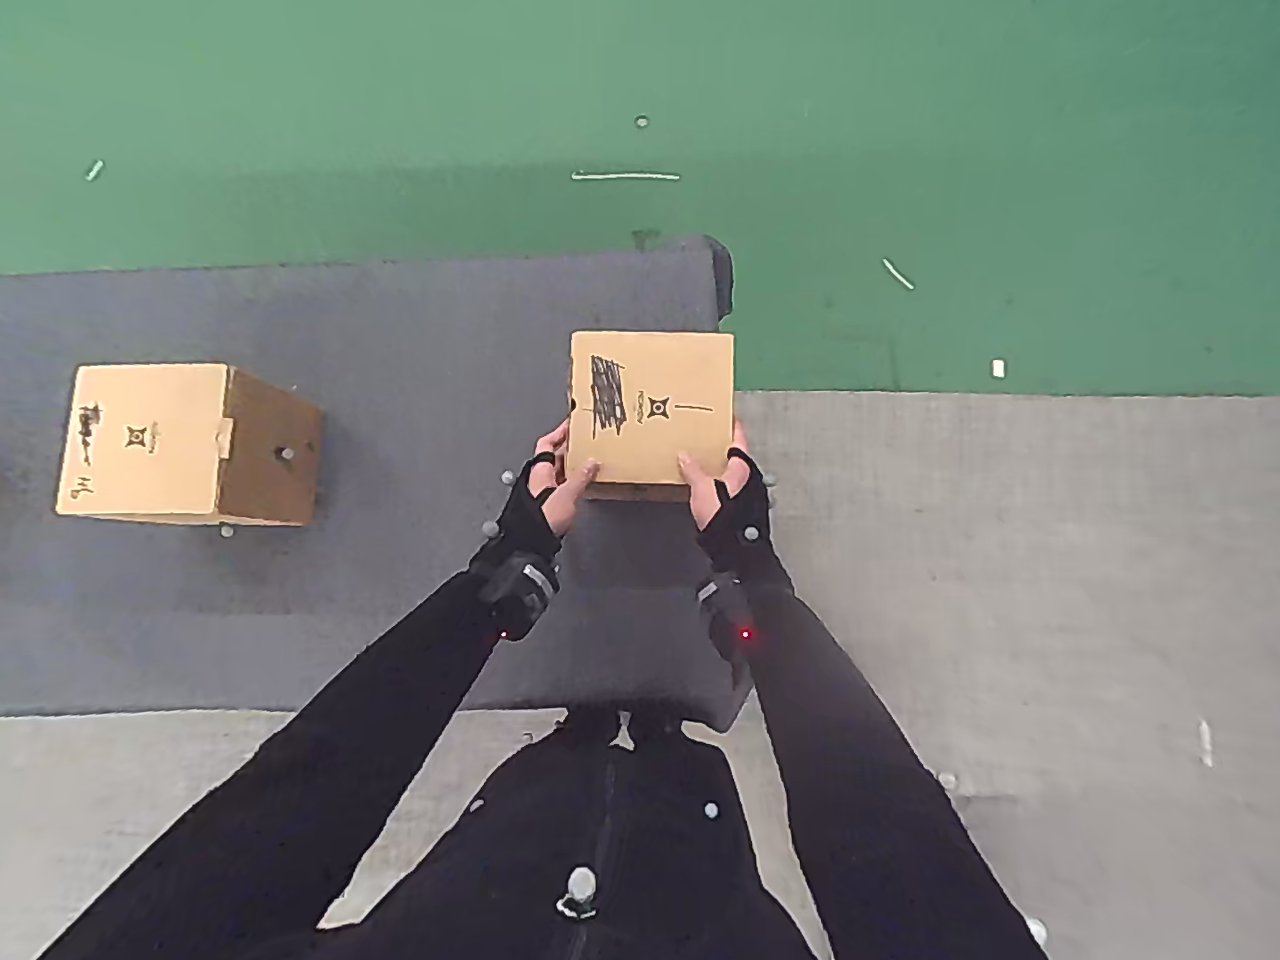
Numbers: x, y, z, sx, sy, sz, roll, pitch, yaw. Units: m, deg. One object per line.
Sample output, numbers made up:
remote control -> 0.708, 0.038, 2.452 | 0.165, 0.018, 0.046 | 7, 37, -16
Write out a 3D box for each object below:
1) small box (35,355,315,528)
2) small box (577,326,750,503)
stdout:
small box -> -0.512, -0.034, 0.627 | 0.179, 0.176, 0.168 | 1, 80, -1
small box -> 0.026, -0.065, 0.636 | 0.179, 0.176, 0.168 | 2, 80, -1
